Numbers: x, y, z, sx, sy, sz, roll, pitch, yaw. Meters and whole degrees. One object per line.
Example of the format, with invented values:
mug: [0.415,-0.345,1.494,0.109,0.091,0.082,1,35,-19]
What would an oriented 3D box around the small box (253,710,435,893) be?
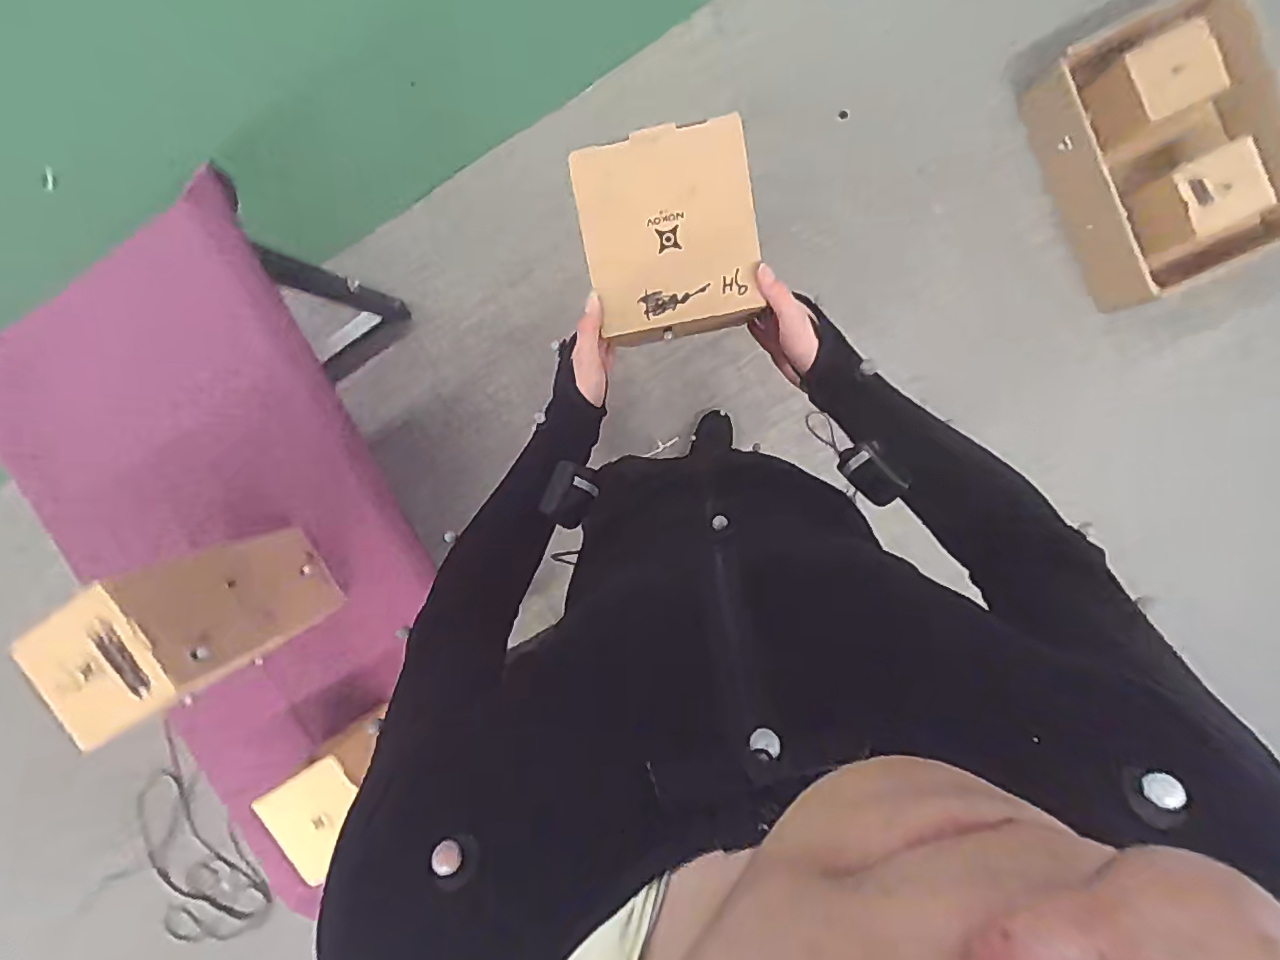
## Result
small box: [-0.492,0.536,0.924,0.179,0.176,0.168,-34,91,8]

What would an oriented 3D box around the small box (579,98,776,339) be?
small box: [0.042,-0.258,0.580,0.168,0.176,0.179,-9,99,7]

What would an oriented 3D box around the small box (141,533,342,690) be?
small box: [-0.651,0.209,0.905,0.179,0.176,0.168,-31,93,8]

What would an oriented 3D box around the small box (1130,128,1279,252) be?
small box: [1.317,-0.669,1.275,0.179,0.176,0.168,-26,93,7]
